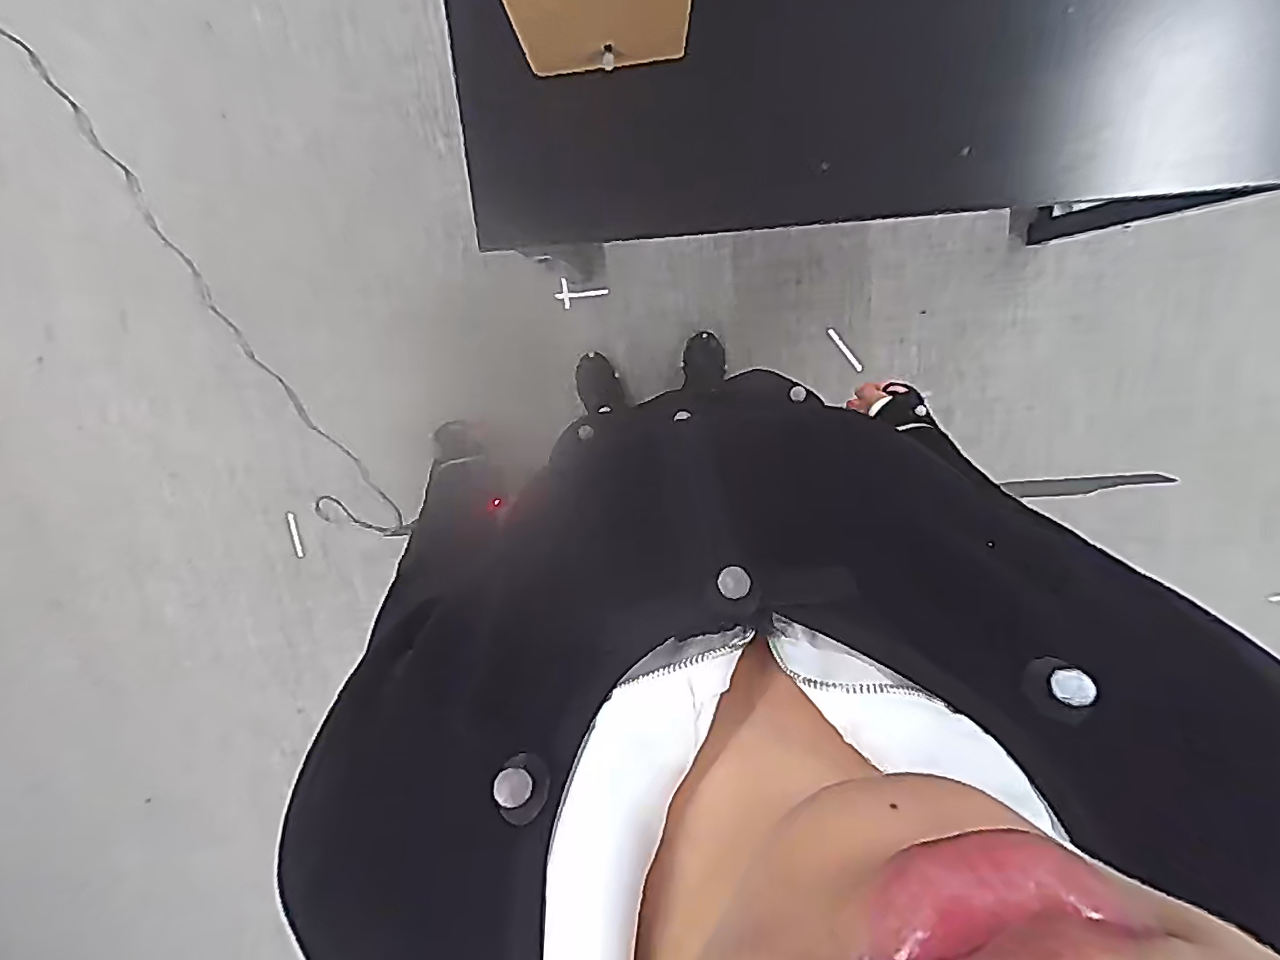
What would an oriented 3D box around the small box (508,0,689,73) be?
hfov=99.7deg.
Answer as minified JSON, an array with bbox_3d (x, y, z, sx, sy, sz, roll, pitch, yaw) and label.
[{"bbox_3d":[-0.043,-0.537,0.530,0.179,0.176,0.168,-6,105,1],"label":"small box"}]
